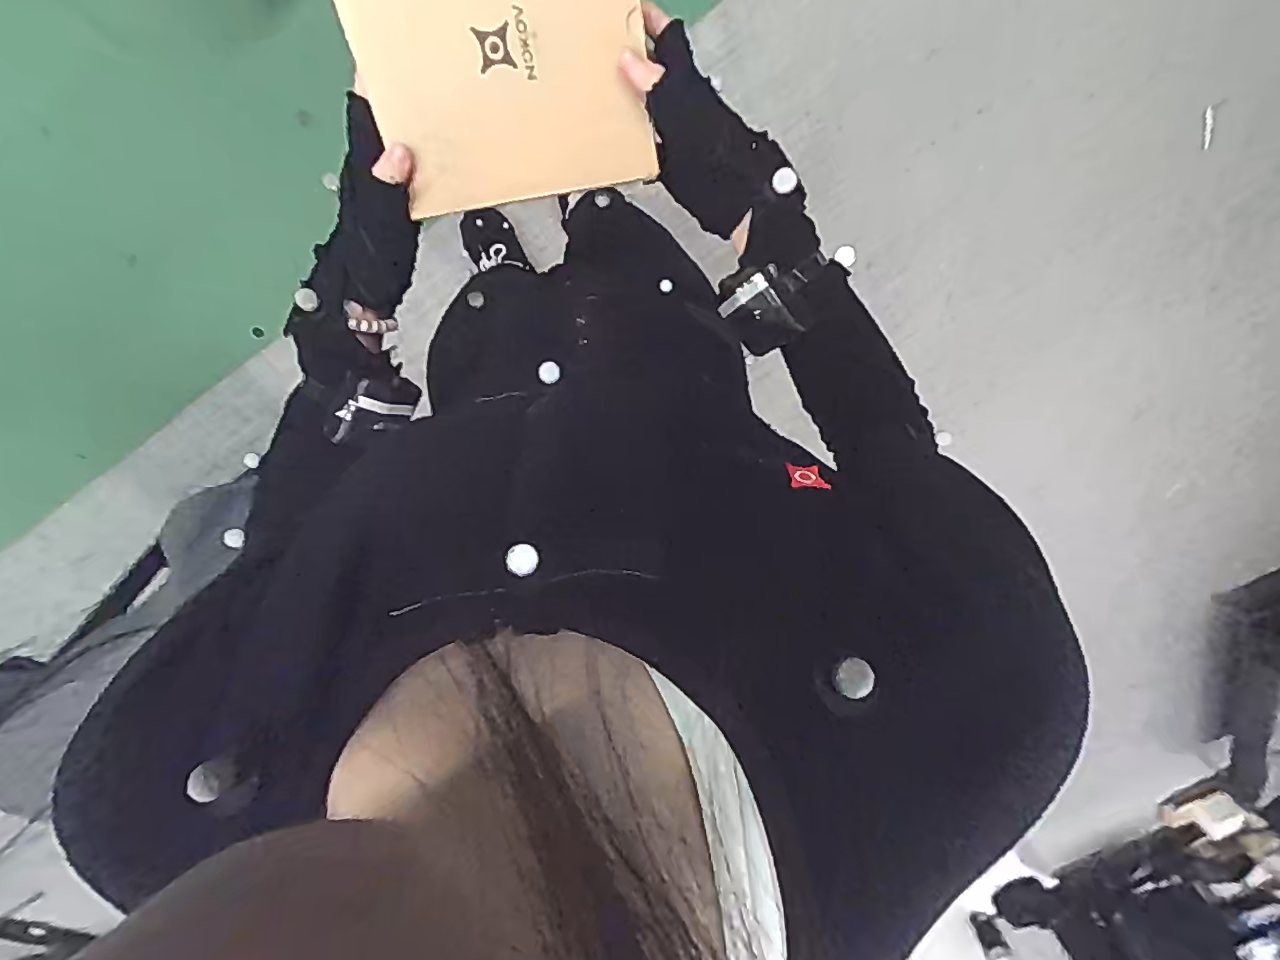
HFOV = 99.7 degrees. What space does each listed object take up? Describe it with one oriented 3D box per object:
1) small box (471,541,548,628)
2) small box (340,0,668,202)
[{"bbox_3d":[-0.411,0.324,1.702,0.179,0.176,0.168,-28,125,6],"label":"small box"},{"bbox_3d":[-0.089,-0.303,0.380,0.179,0.176,0.168,-13,122,-3],"label":"small box"}]
